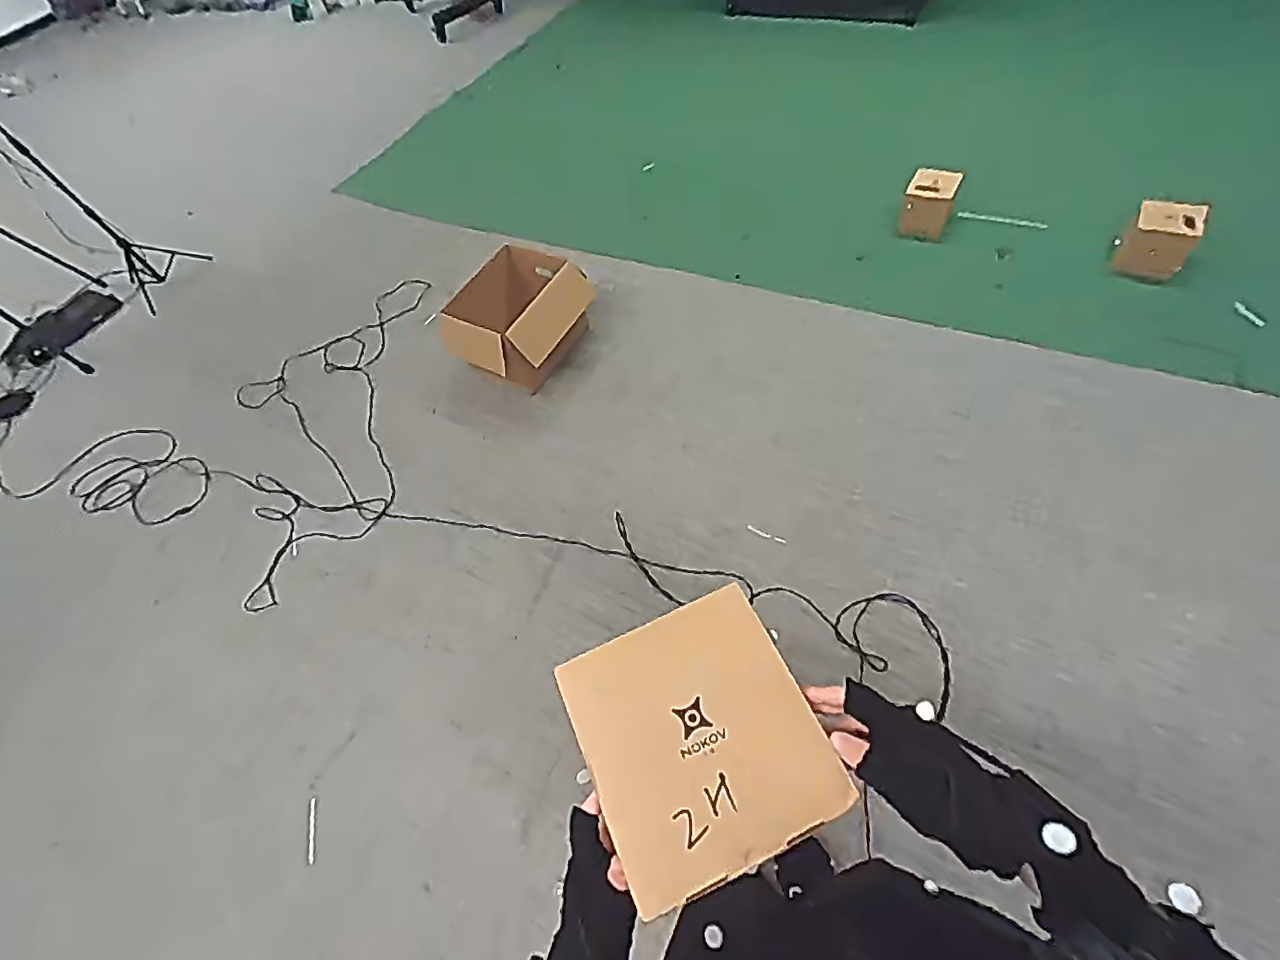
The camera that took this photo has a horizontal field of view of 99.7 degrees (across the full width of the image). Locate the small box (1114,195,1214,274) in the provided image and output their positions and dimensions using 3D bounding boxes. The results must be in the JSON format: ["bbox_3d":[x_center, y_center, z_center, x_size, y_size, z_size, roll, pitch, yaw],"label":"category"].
[{"bbox_3d":[1.750,-0.818,1.812,0.179,0.176,0.168,23,65,23],"label":"small box"}]

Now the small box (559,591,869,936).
[{"bbox_3d":[0.050,0.225,0.450,0.168,0.176,0.179,-23,60,-7],"label":"small box"}]
